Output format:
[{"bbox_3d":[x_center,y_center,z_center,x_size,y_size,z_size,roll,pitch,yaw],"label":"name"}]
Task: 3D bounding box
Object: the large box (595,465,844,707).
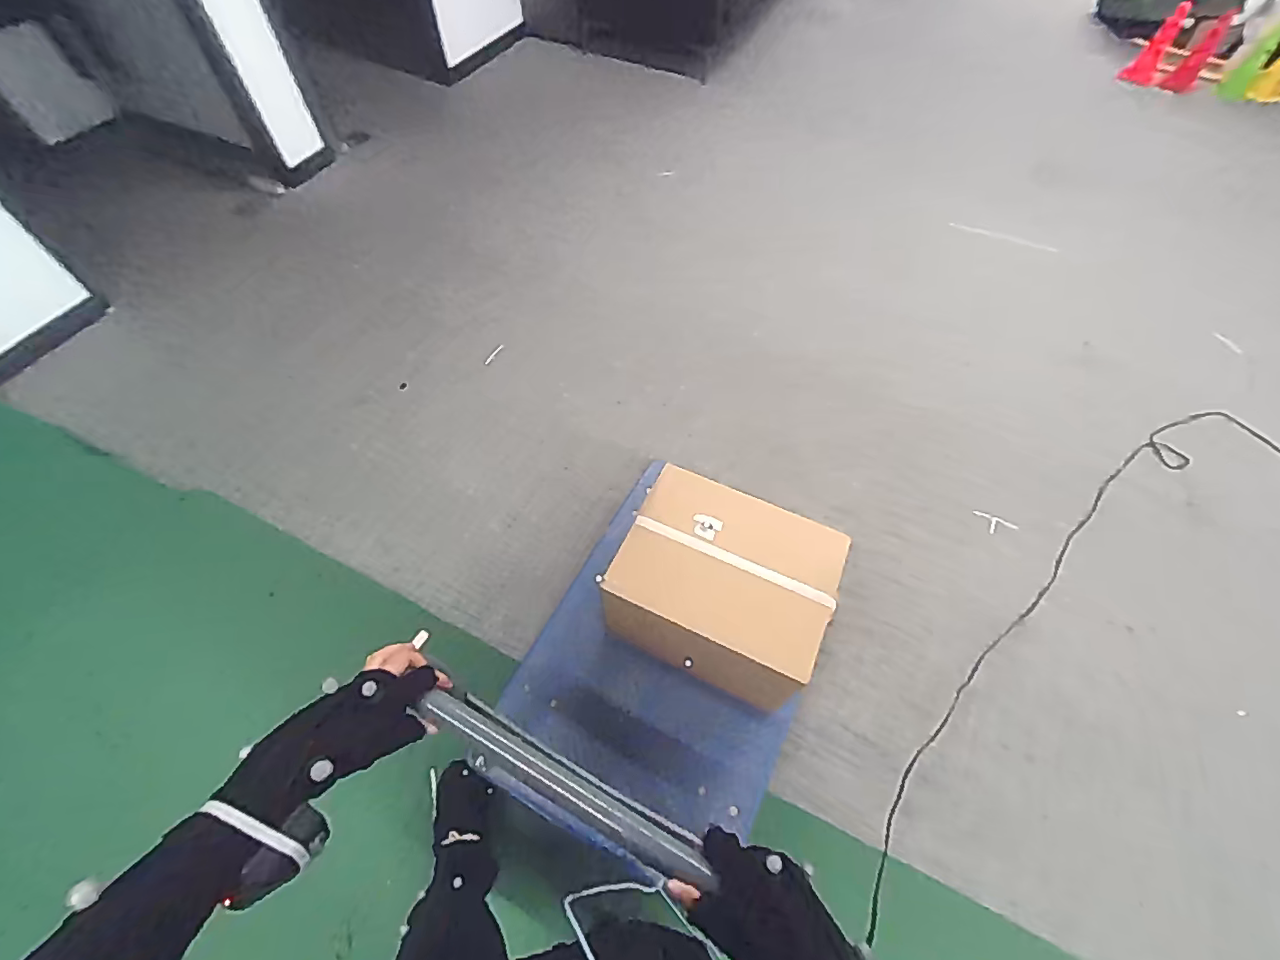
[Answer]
[{"bbox_3d":[0.162,0.233,1.161,0.408,0.320,0.320,23,60,14],"label":"large box"}]
